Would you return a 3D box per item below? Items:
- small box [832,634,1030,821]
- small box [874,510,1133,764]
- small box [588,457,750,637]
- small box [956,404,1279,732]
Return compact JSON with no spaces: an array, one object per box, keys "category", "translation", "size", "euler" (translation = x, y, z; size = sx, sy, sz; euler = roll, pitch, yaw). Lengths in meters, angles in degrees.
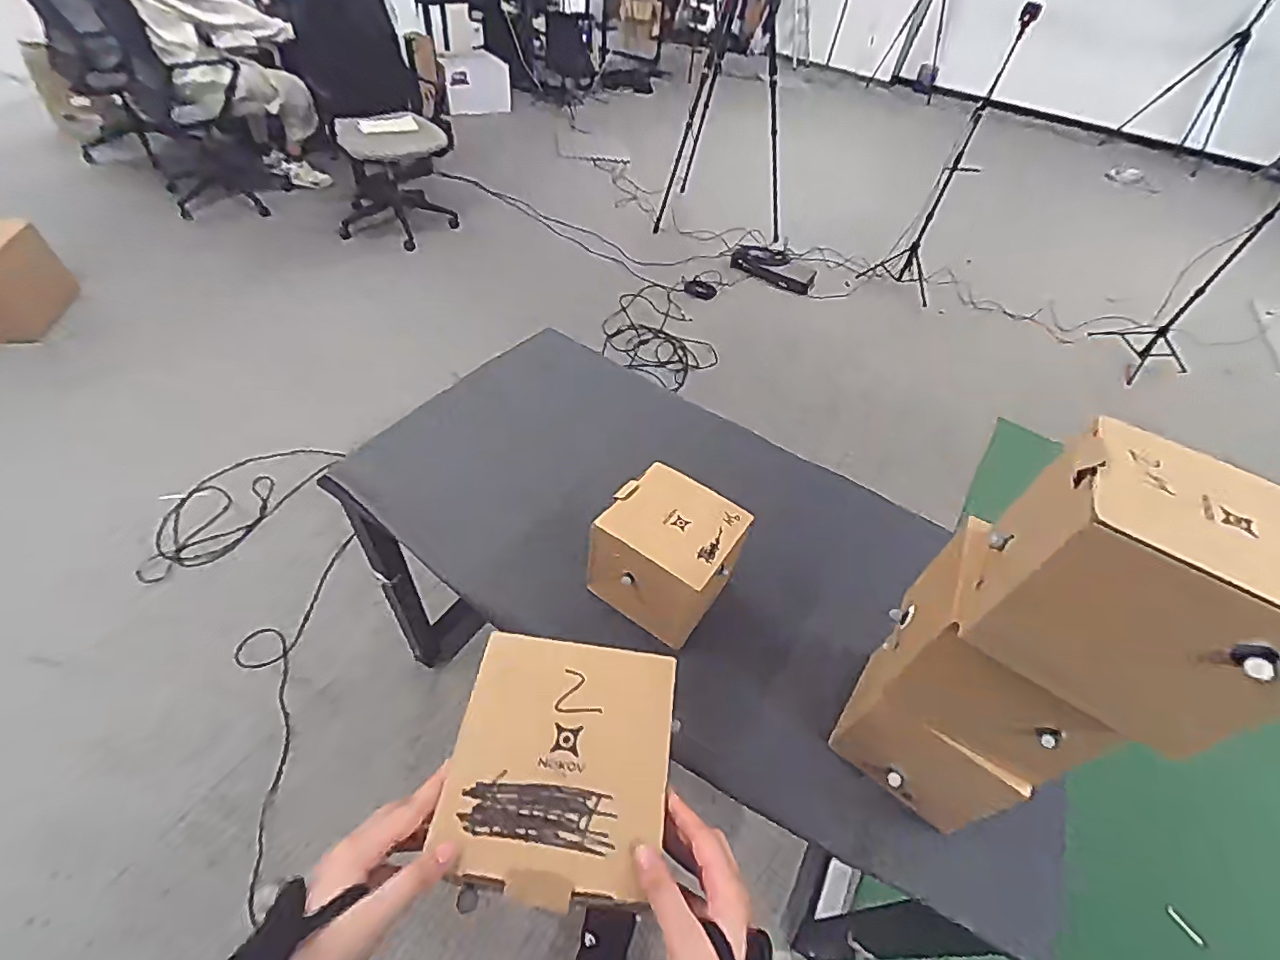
[{"category":"small box","translation":[0.372,0.288,0.689],"size":[0.168,0.176,0.179],"euler":[33,50,22]},{"category":"small box","translation":[0.382,0.171,0.577],"size":[0.179,0.176,0.168],"euler":[26,46,17]},{"category":"small box","translation":[0.035,0.102,0.813],"size":[0.179,0.176,0.168],"euler":[30,50,19]},{"category":"small box","translation":[0.402,0.074,0.442],"size":[0.179,0.176,0.168],"euler":[31,47,20]}]
